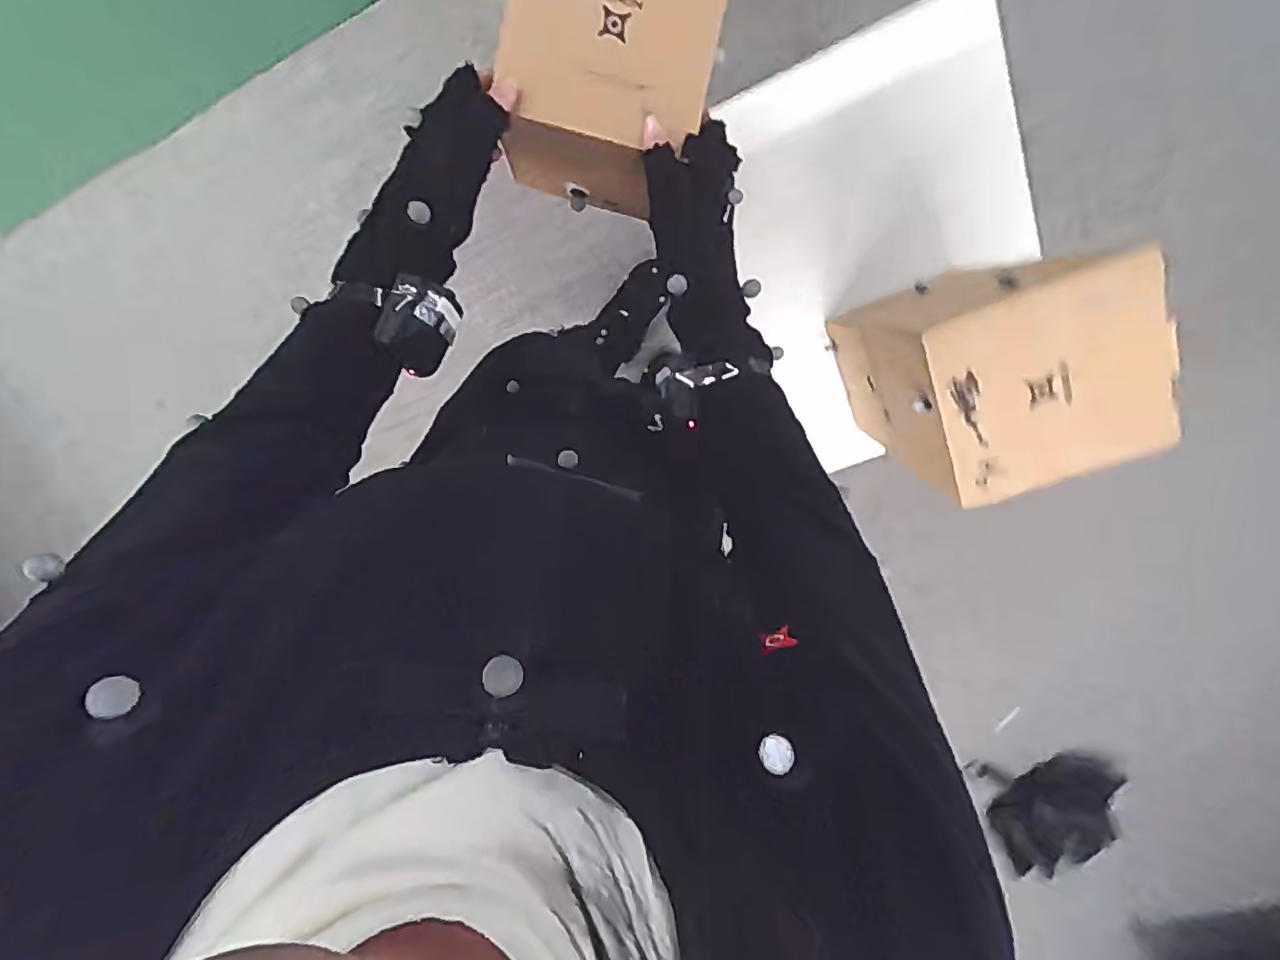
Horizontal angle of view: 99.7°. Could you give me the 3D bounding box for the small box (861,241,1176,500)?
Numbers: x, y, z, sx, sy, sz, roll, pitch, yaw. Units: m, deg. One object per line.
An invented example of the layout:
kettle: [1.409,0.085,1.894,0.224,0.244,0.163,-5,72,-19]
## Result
small box: [0.337,-0.107,0.511,0.179,0.176,0.168,-19,107,11]

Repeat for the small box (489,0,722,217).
small box: [-0.029,-0.371,0.496,0.168,0.176,0.179,10,100,-6]

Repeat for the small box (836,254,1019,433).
small box: [0.357,-0.158,0.666,0.179,0.176,0.168,-21,106,11]
